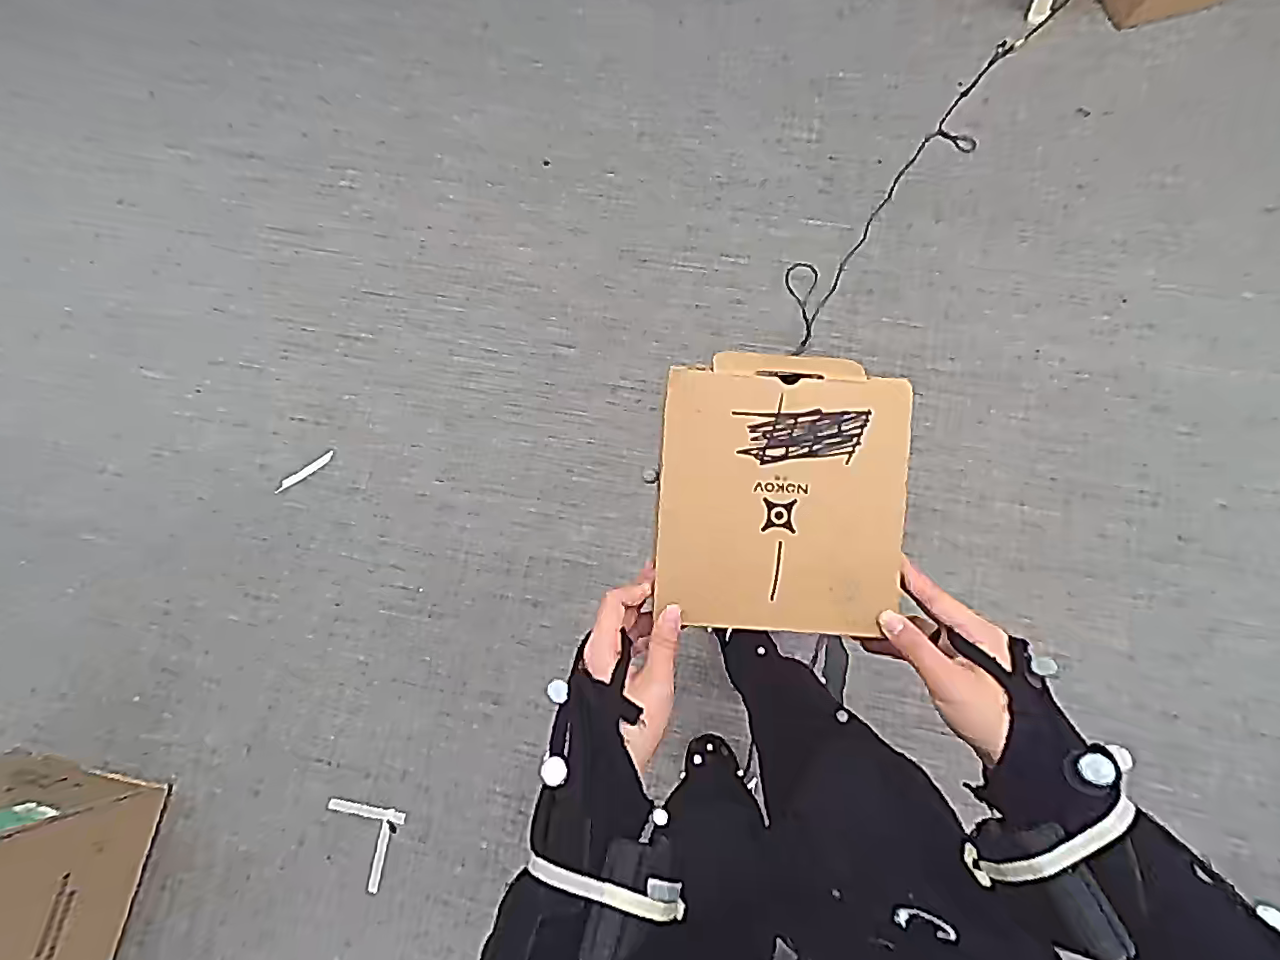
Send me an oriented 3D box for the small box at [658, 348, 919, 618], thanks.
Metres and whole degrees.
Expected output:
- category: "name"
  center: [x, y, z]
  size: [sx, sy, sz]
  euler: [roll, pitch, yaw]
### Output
- category: "small box"
  center: [0.103, 0.002, 0.445]
  size: [0.168, 0.176, 0.179]
  euler: [3, 91, 1]
